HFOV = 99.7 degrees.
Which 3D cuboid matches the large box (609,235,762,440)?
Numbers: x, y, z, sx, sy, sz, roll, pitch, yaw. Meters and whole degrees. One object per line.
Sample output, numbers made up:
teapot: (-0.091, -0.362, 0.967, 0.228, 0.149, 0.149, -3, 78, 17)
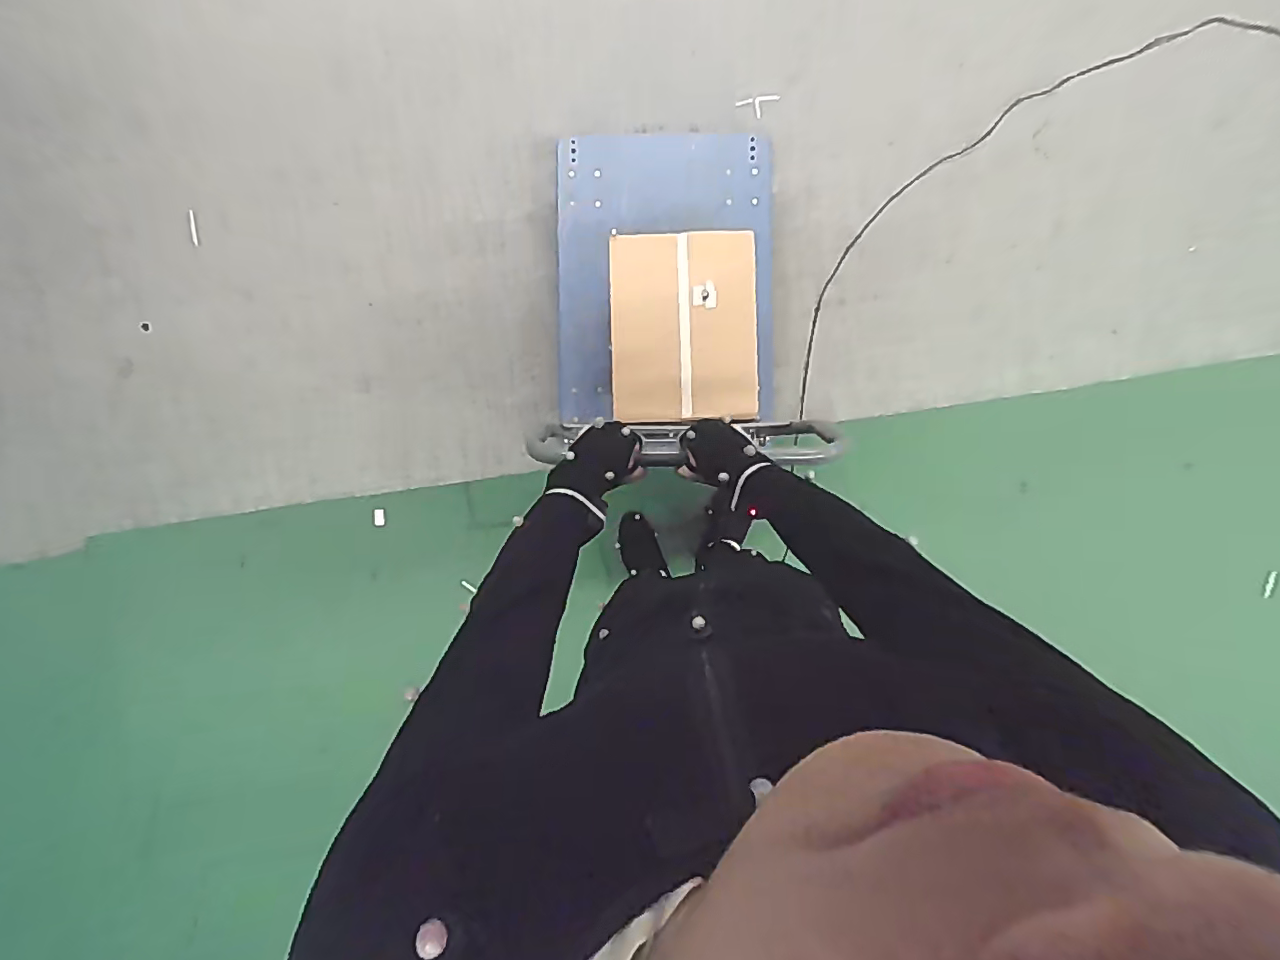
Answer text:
large box: (0.098, -0.314, 1.293, 0.320, 0.320, 0.408, -2, 89, 0)
